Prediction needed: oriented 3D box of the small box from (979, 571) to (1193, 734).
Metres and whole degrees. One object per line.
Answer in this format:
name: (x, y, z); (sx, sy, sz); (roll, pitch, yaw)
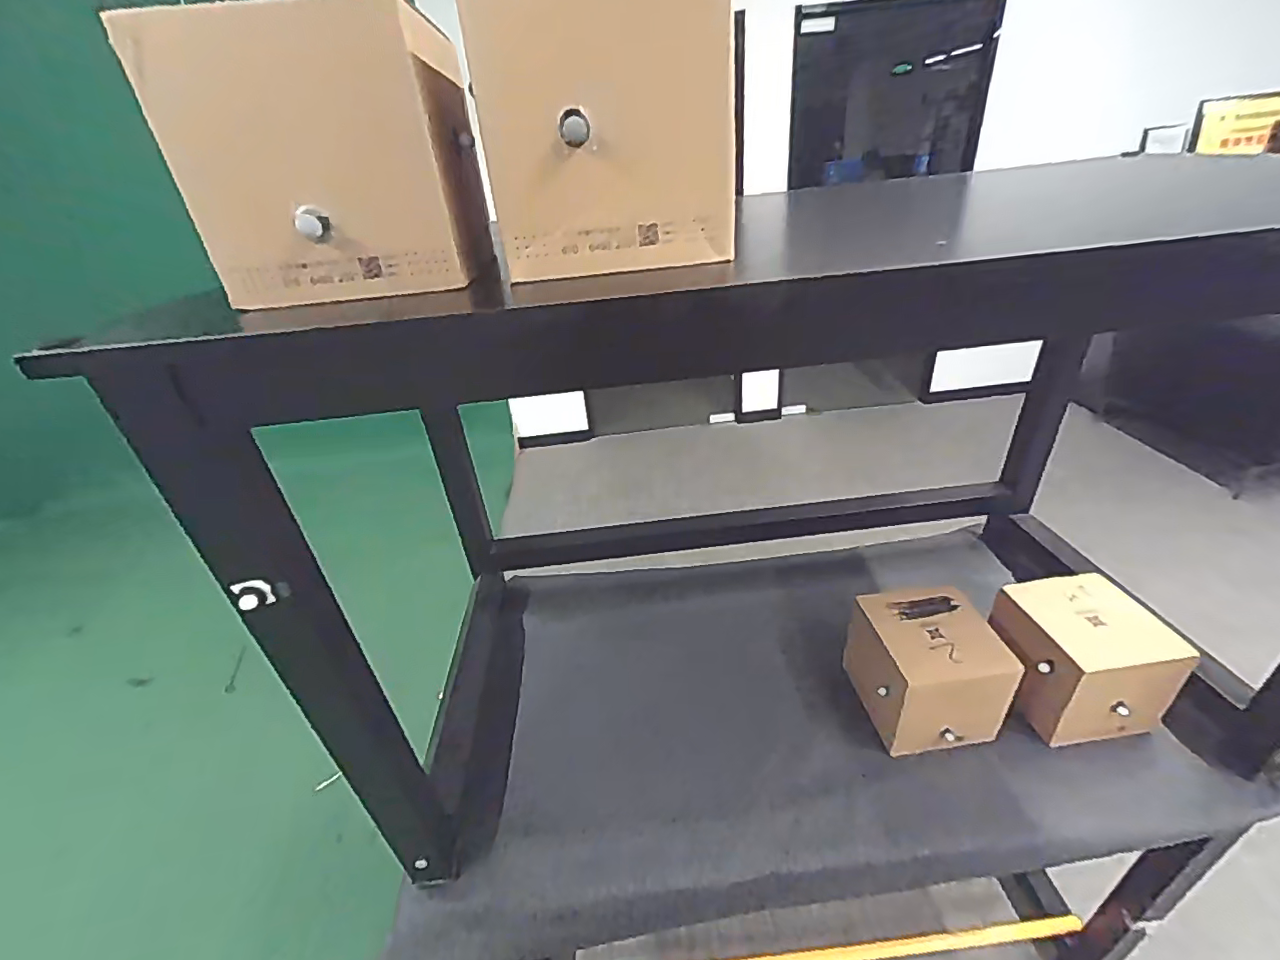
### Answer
small box: (0.671, 0.271, 0.841); (0.168, 0.176, 0.179); (-7, 30, -2)

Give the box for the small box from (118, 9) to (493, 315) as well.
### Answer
small box: (-0.221, -0.237, 0.424); (0.168, 0.176, 0.179); (-7, 32, -2)
